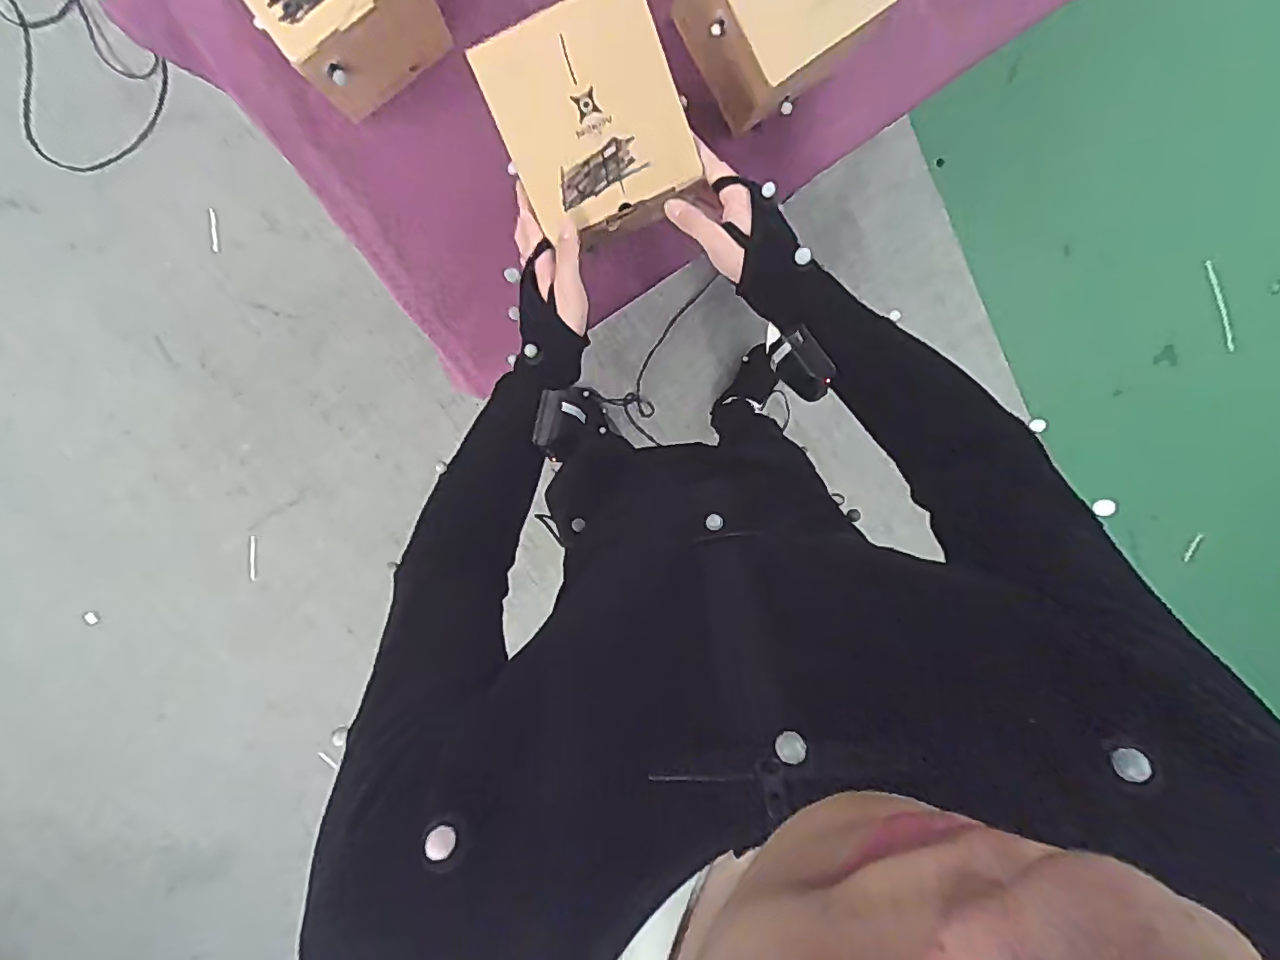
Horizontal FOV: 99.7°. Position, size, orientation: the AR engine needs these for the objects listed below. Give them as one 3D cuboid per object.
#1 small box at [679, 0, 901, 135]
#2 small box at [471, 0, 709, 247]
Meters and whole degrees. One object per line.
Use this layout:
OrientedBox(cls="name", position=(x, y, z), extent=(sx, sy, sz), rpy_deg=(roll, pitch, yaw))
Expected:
OrientedBox(cls="small box", position=(0.163, -0.562, 0.644), extent=(0.168, 0.176, 0.179), rpy_deg=(-32, 105, 4))
OrientedBox(cls="small box", position=(-0.040, -0.356, 0.557), extent=(0.168, 0.176, 0.179), rpy_deg=(-21, 107, 7))
